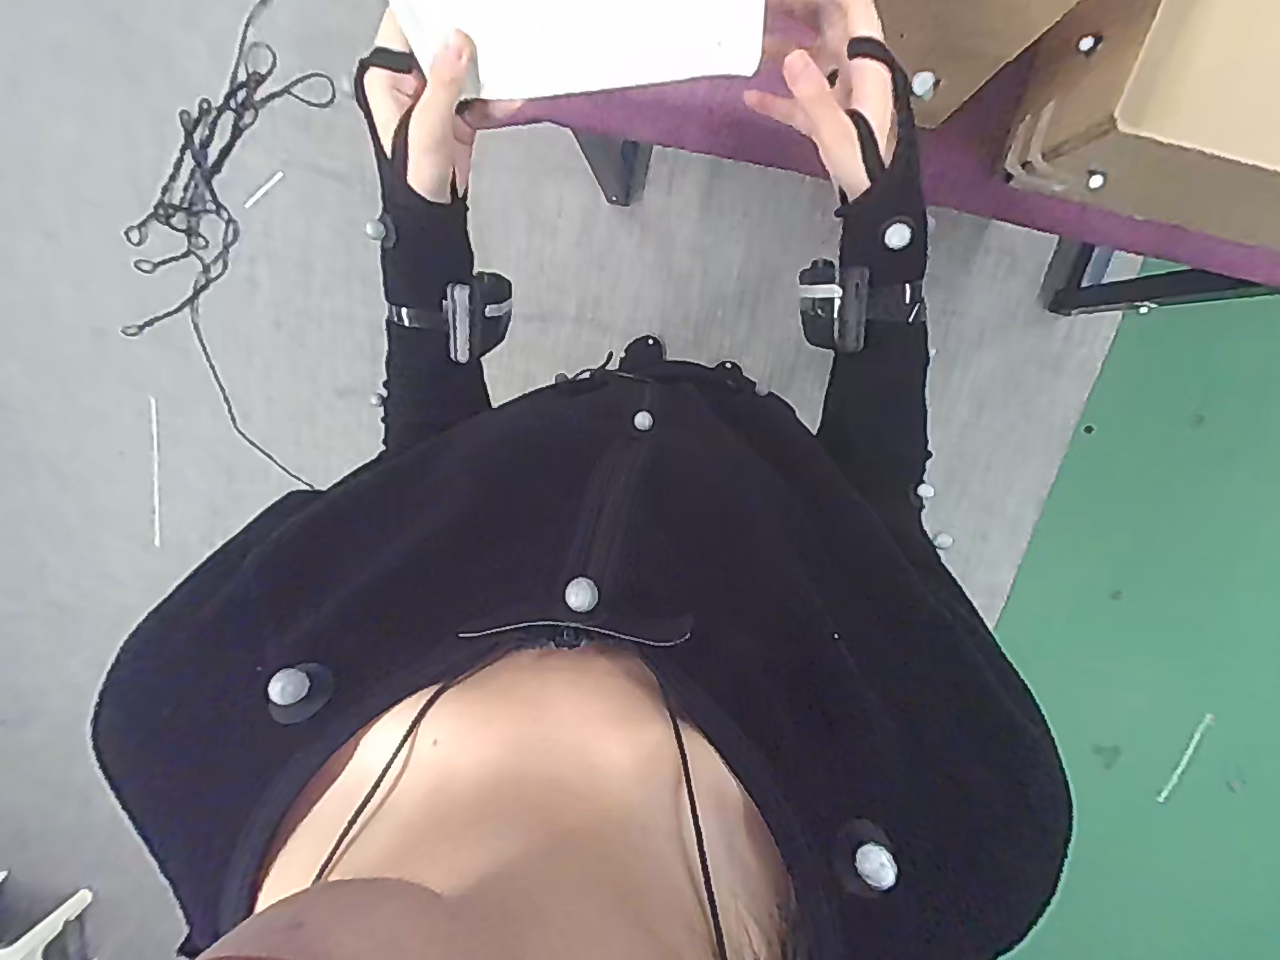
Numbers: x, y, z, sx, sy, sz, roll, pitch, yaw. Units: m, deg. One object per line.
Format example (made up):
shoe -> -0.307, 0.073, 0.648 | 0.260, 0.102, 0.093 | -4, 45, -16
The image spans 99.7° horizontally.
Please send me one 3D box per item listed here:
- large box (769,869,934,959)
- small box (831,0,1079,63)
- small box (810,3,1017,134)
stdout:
large box -> 0.612, 1.431, 1.622 | 0.408, 0.320, 0.320 | -1, 103, 4
small box -> 0.268, -0.454, 0.399 | 0.179, 0.176, 0.168 | 15, 102, 1
small box -> 0.289, -0.495, 0.557 | 0.168, 0.176, 0.179 | 15, 102, 1
